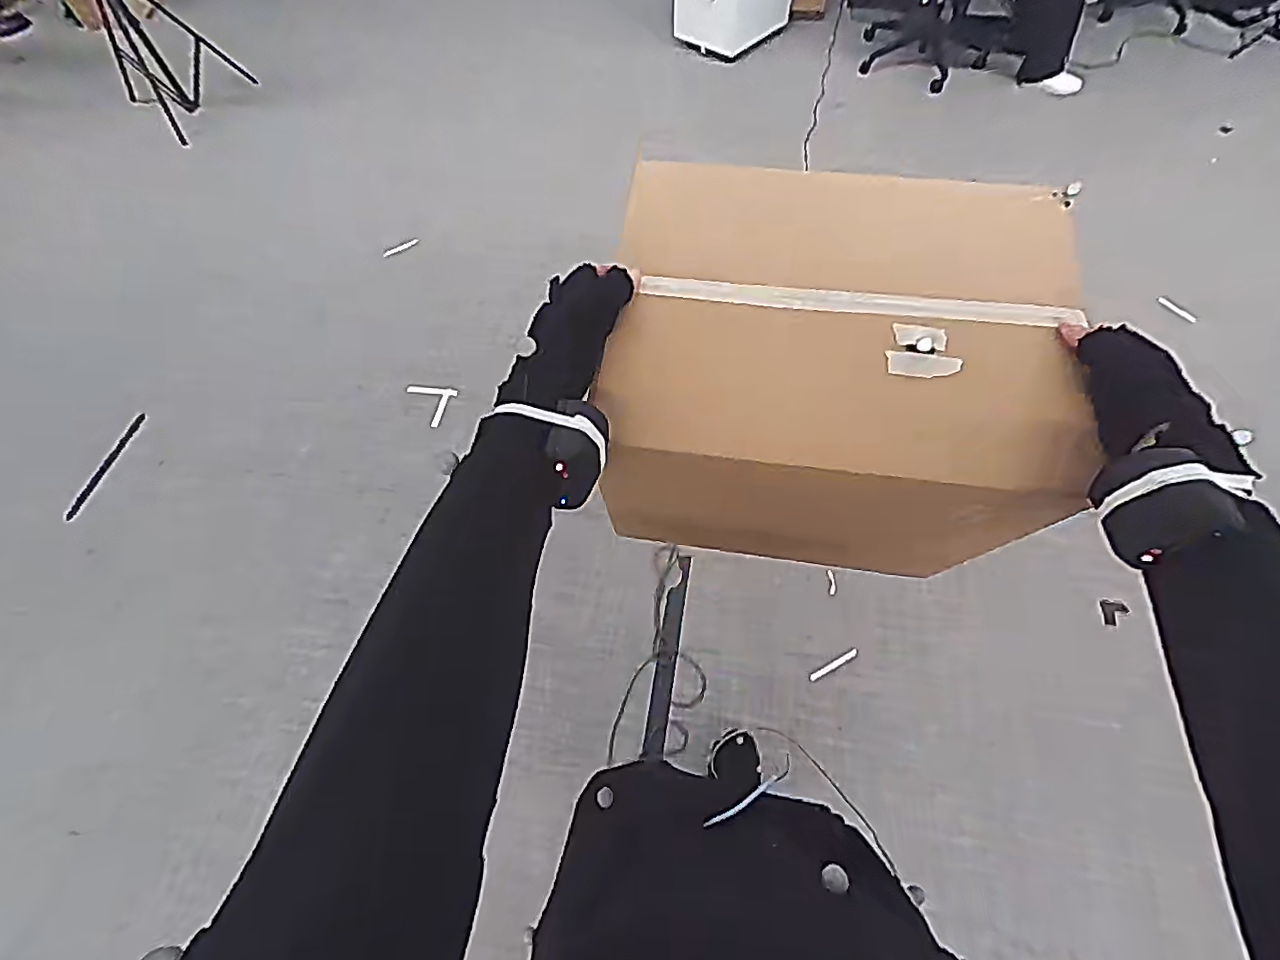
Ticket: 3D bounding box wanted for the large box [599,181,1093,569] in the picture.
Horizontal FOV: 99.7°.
[{"bbox_3d":[0.185,-0.097,0.630,0.408,0.320,0.320,7,70,6],"label":"large box"}]
